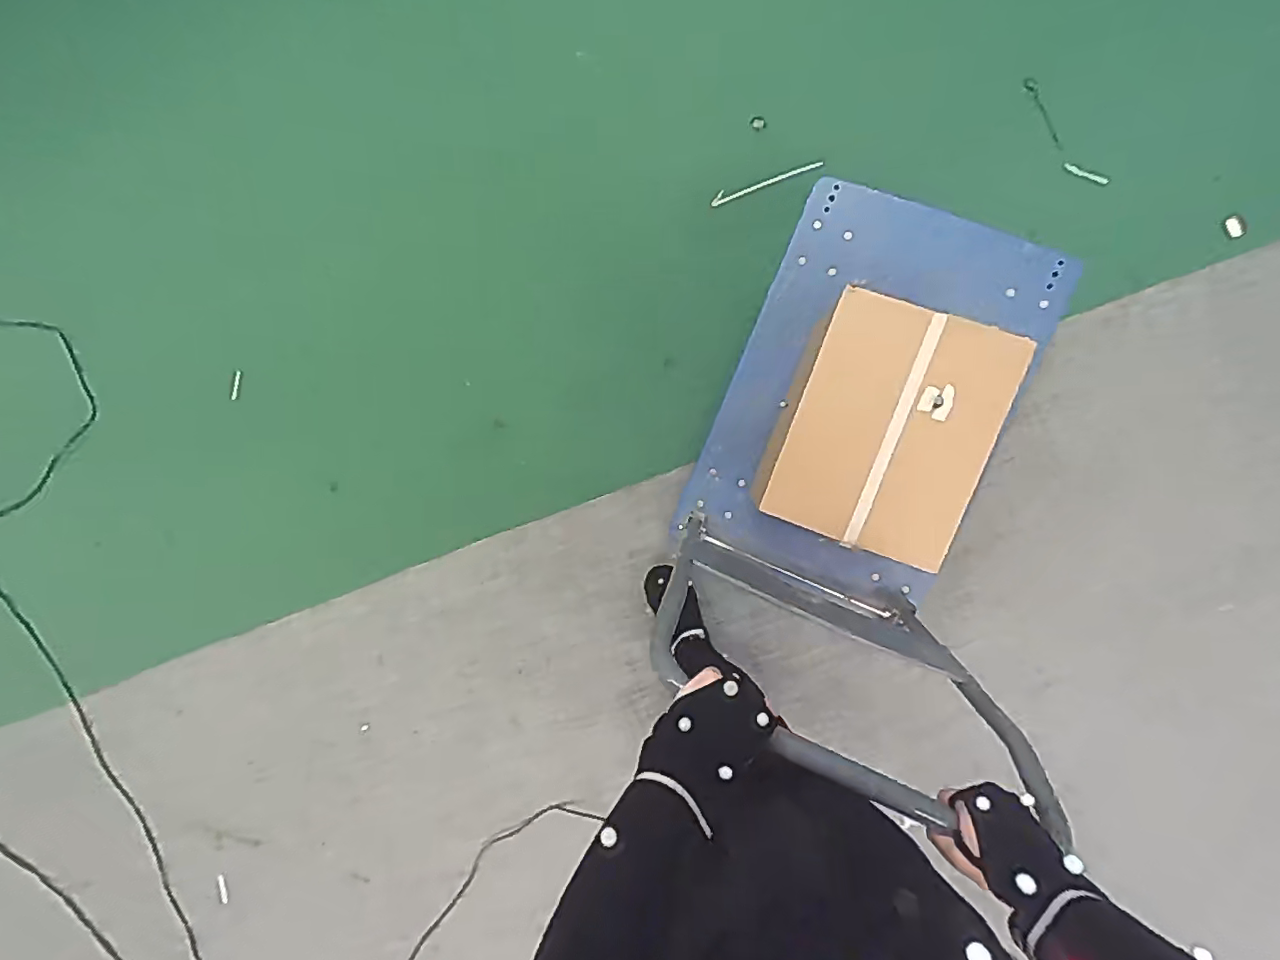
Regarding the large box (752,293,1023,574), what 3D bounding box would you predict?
[{"bbox_3d":[0.430,-0.084,1.046,0.320,0.320,0.408,20,97,6],"label":"large box"}]
